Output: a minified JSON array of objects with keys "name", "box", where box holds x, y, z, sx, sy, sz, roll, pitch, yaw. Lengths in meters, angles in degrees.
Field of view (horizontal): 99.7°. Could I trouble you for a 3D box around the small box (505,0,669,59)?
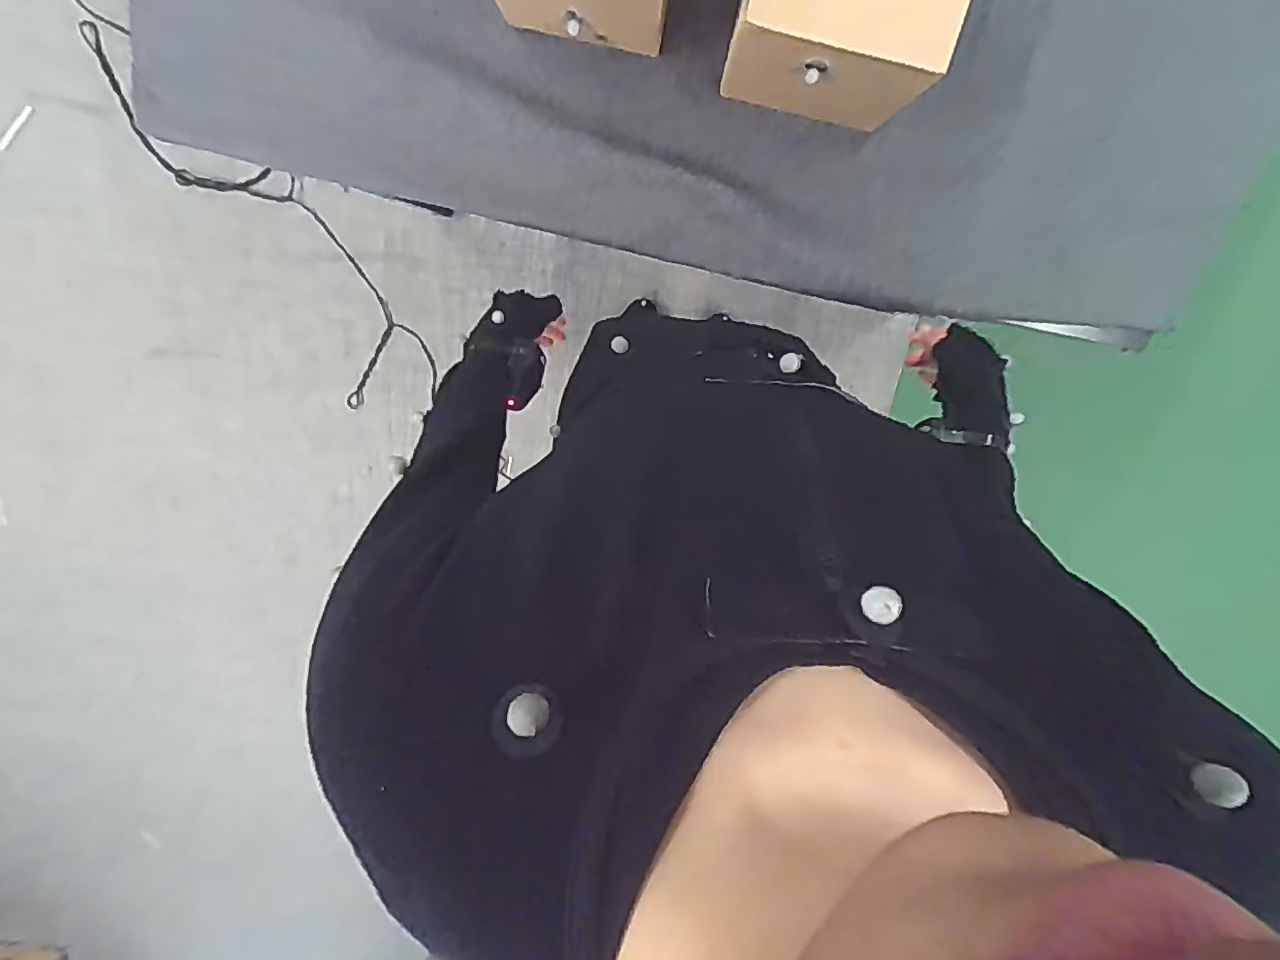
[{"name":"small box","box":[-0.046,-0.523,0.479,0.168,0.176,0.179,11,109,-1]}]
